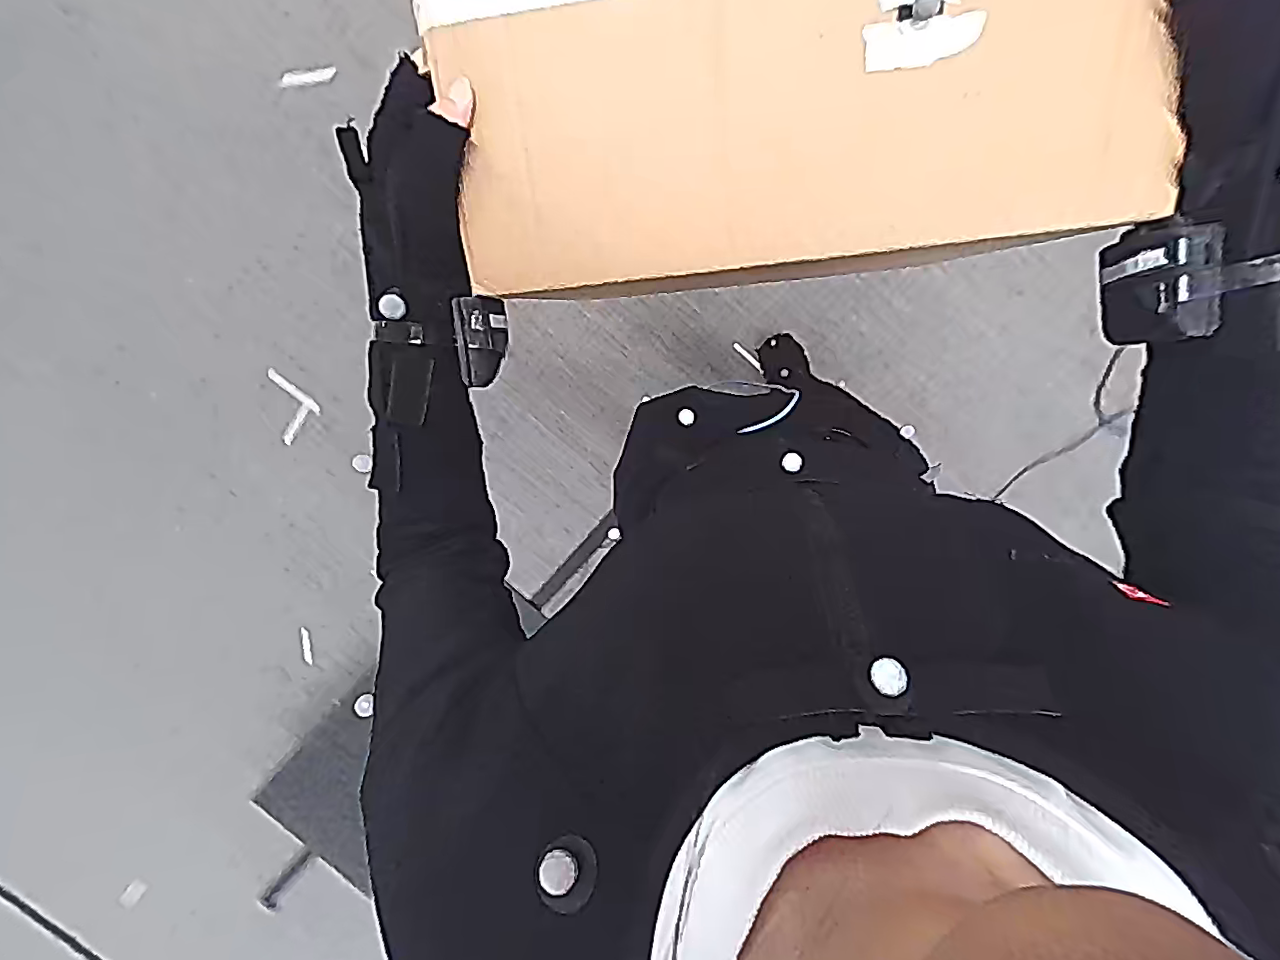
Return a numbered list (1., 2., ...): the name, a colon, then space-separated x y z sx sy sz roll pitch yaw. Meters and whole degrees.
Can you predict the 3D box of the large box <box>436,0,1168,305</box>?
1. large box: 0.089 -0.331 0.438 0.408 0.320 0.320 -5 107 8
